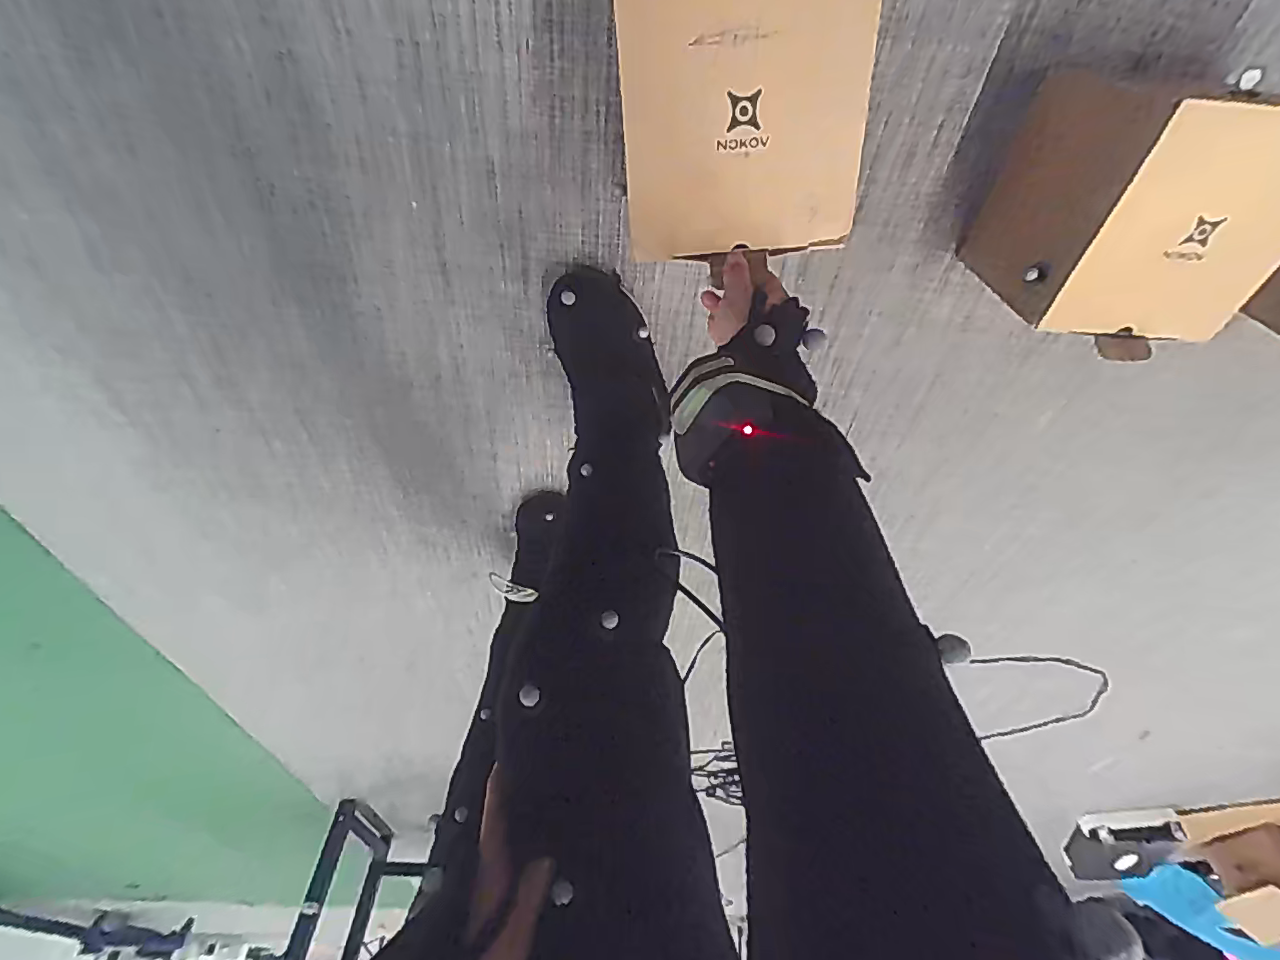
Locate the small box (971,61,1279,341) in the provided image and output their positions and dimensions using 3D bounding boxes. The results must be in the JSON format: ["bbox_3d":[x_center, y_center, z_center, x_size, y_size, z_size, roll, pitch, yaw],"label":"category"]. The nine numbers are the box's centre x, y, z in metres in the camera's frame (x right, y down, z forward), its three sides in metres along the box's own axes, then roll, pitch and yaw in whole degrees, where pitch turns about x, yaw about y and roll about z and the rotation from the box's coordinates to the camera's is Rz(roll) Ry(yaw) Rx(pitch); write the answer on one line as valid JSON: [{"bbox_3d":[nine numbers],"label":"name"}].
[{"bbox_3d":[0.437,-0.248,0.478,0.168,0.176,0.179,4,134,-3],"label":"small box"}]

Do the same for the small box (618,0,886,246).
[{"bbox_3d":[0.071,-0.295,0.423,0.168,0.176,0.179,-2,123,2],"label":"small box"}]
